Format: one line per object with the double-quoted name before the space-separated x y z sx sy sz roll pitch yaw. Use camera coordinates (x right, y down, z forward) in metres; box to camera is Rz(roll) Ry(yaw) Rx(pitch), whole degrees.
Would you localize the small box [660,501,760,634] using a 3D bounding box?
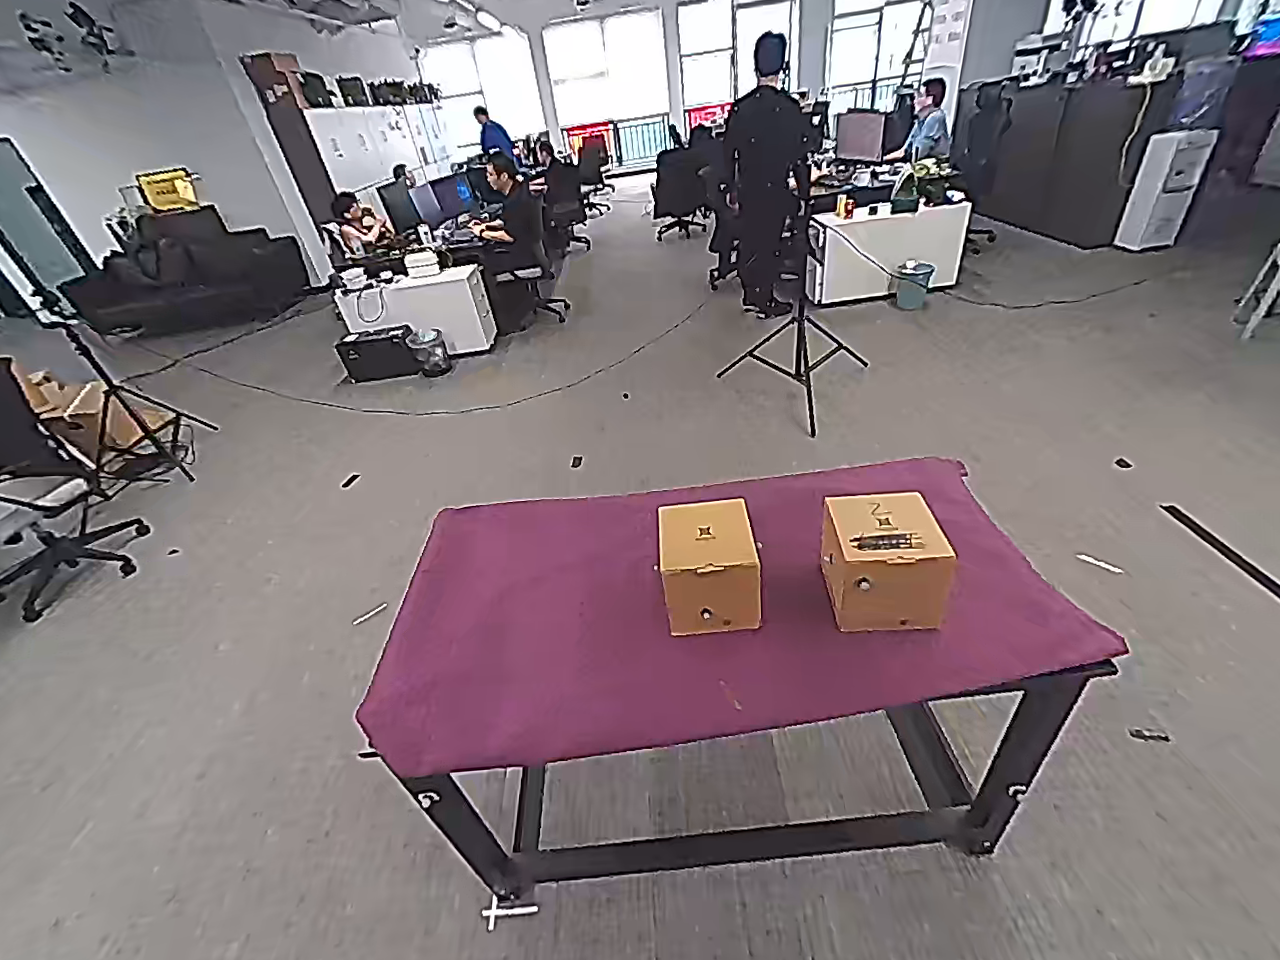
"small box" 0.127 0.162 1.008 0.168 0.176 0.179 -6 35 4
